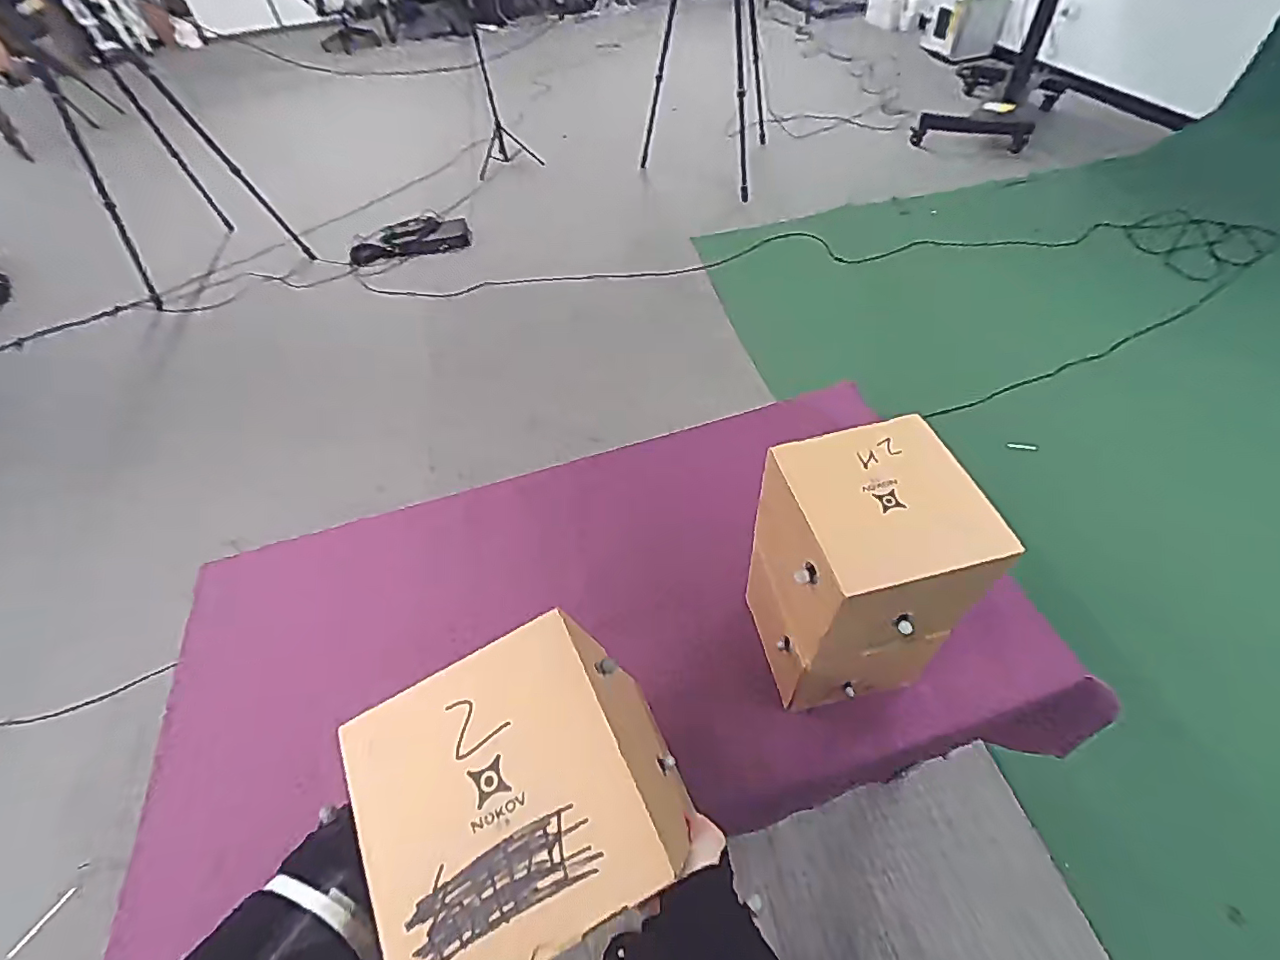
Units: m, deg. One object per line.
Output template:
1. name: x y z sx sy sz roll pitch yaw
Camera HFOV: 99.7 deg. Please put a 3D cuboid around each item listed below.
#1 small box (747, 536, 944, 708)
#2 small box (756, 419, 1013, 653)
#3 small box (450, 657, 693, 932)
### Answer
1. small box: 0.245 0.170 0.702 0.168 0.176 0.179 -12 52 -4
2. small box: 0.233 0.067 0.574 0.168 0.176 0.179 -12 51 -5
3. small box: -0.060 0.307 0.552 0.179 0.176 0.168 -26 63 -4
